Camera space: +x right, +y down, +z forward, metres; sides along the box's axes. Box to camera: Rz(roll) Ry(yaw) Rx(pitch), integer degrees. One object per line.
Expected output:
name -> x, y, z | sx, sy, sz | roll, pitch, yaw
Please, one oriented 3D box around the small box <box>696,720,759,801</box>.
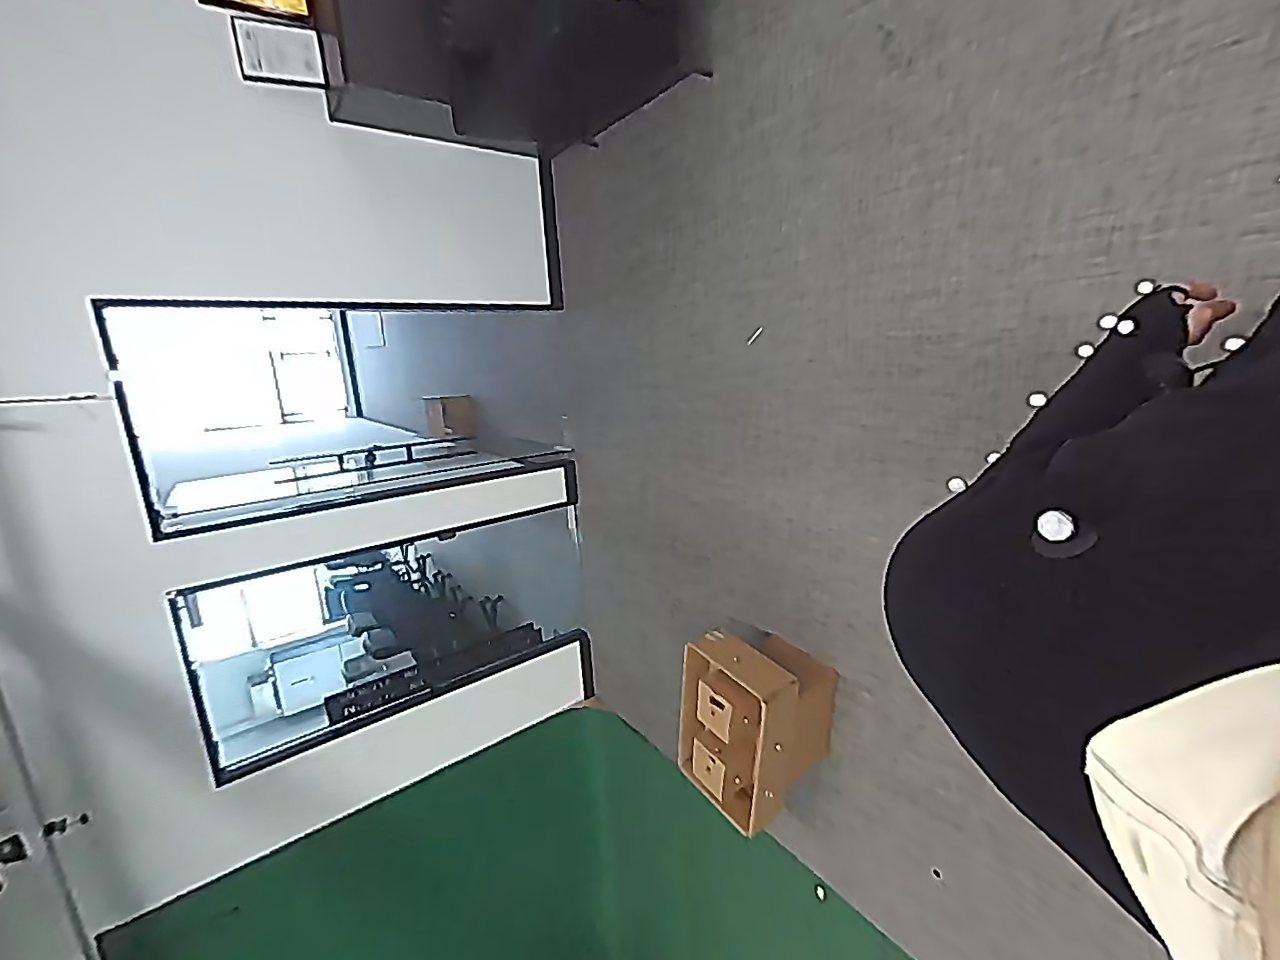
small box -> 0.333, 1.060, 2.055 | 0.168, 0.176, 0.179 | 25, 120, 50
